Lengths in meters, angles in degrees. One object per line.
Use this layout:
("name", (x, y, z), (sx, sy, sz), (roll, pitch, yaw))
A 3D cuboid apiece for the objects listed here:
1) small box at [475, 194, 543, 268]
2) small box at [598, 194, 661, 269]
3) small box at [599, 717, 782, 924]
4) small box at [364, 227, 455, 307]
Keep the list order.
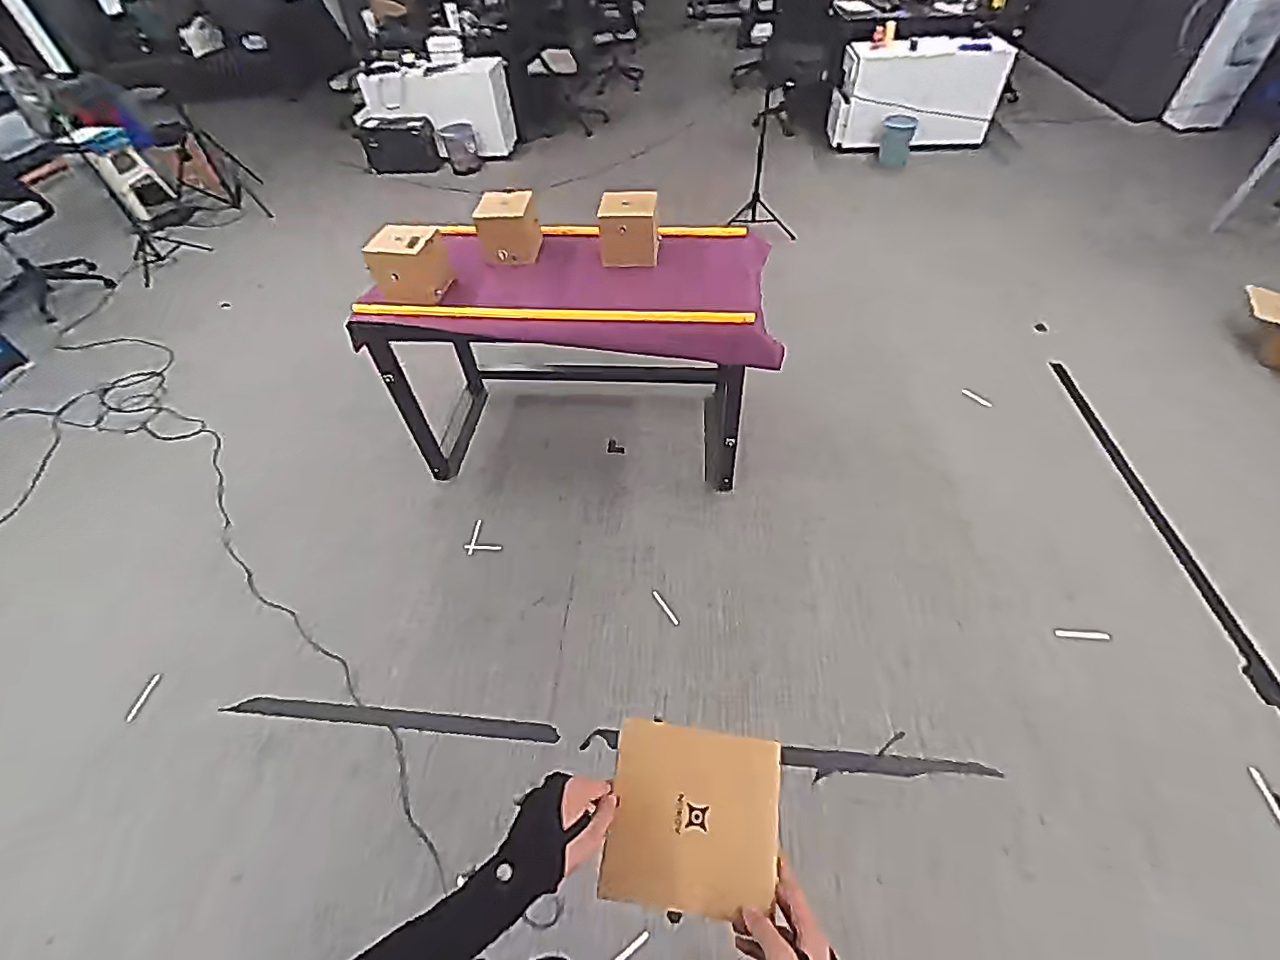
("small box", (-0.426, -0.827, 1.796), (0.168, 0.176, 0.179), (0, 51, 5))
("small box", (-0.029, -0.799, 1.745), (0.179, 0.176, 0.168), (3, 52, 6))
("small box", (0.059, 0.373, 0.626), (0.179, 0.176, 0.168), (5, 66, 6))
("small box", (-0.697, -0.651, 1.661), (0.179, 0.176, 0.168), (6, 51, 8))
